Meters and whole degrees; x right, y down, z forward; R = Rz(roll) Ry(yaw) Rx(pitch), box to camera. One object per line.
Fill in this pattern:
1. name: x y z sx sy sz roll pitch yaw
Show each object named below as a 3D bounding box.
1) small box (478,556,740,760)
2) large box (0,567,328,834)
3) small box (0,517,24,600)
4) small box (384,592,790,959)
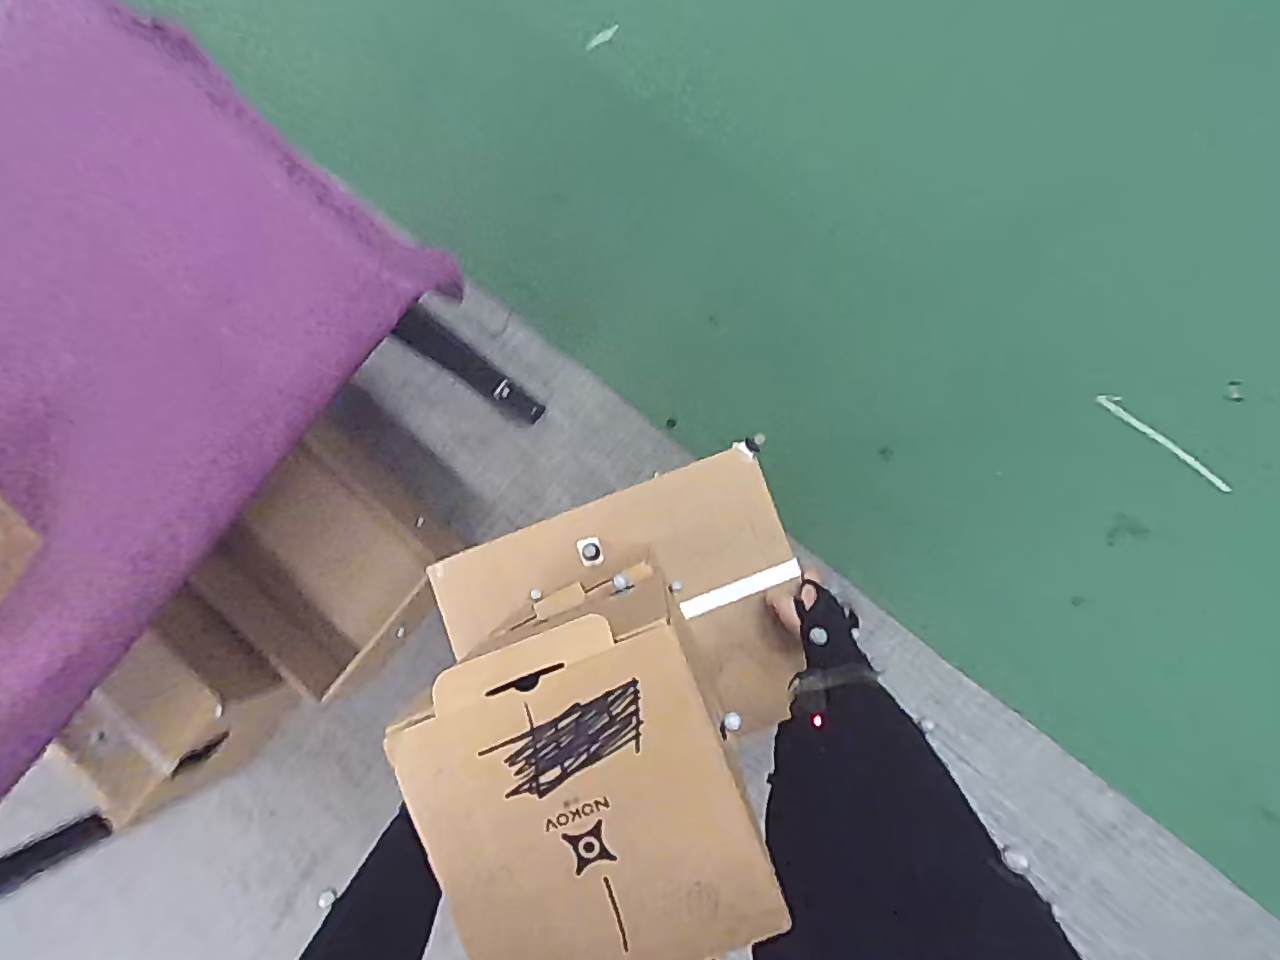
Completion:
1. small box: -0.026 0.183 0.520 0.168 0.176 0.179 -25 87 0
2. large box: -1.004 0.434 1.175 0.408 0.320 0.320 39 89 7
3. small box: -0.768 0.083 0.515 0.168 0.176 0.179 38 90 10
4. small box: -0.027 0.184 0.355 0.168 0.176 0.179 -21 88 1
